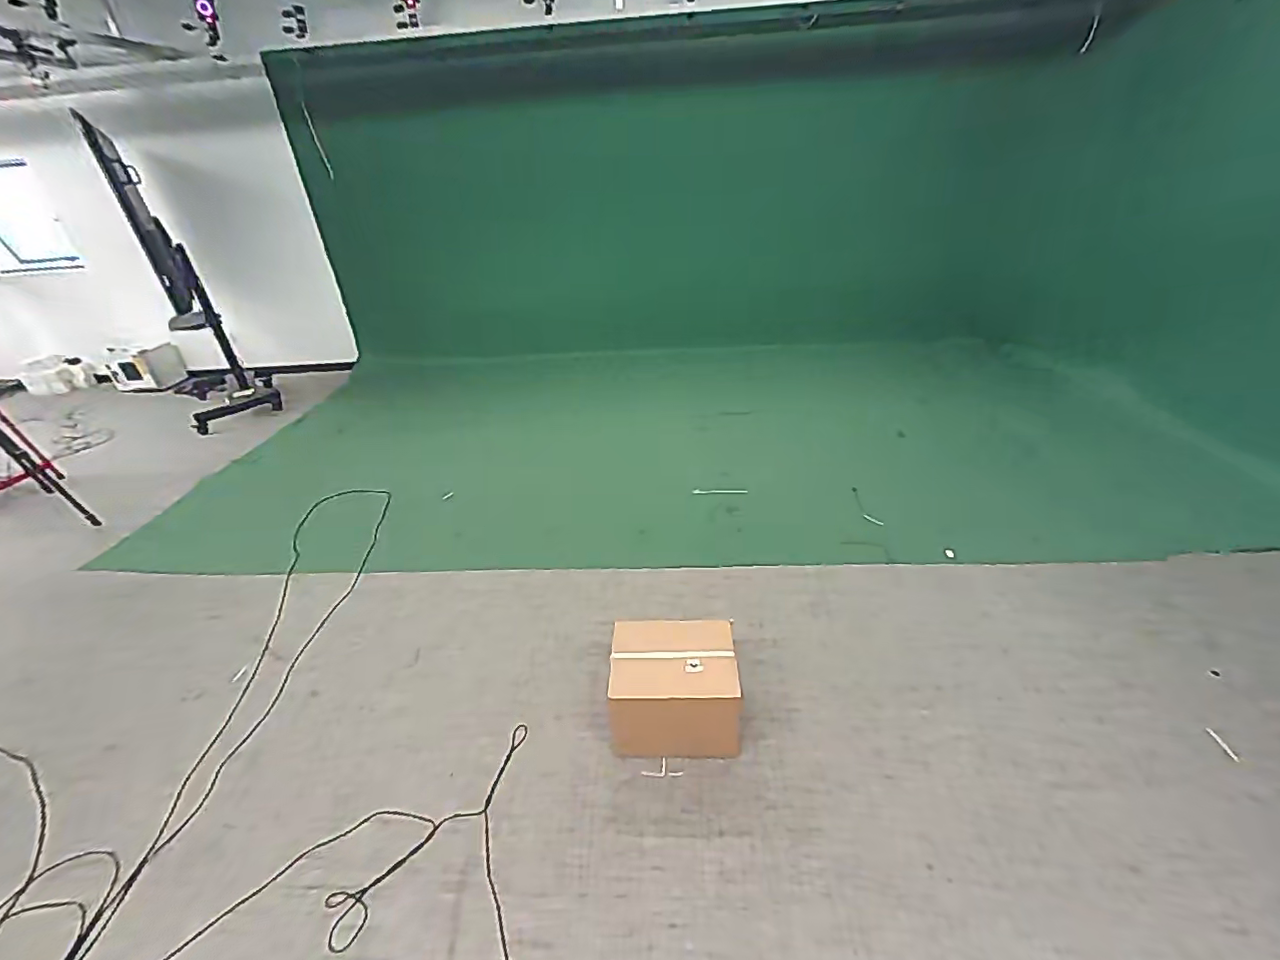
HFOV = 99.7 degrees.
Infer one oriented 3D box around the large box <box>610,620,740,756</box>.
[{"bbox_3d":[0.112,0.701,1.834,0.408,0.320,0.320,-2,31,3],"label":"large box"}]
